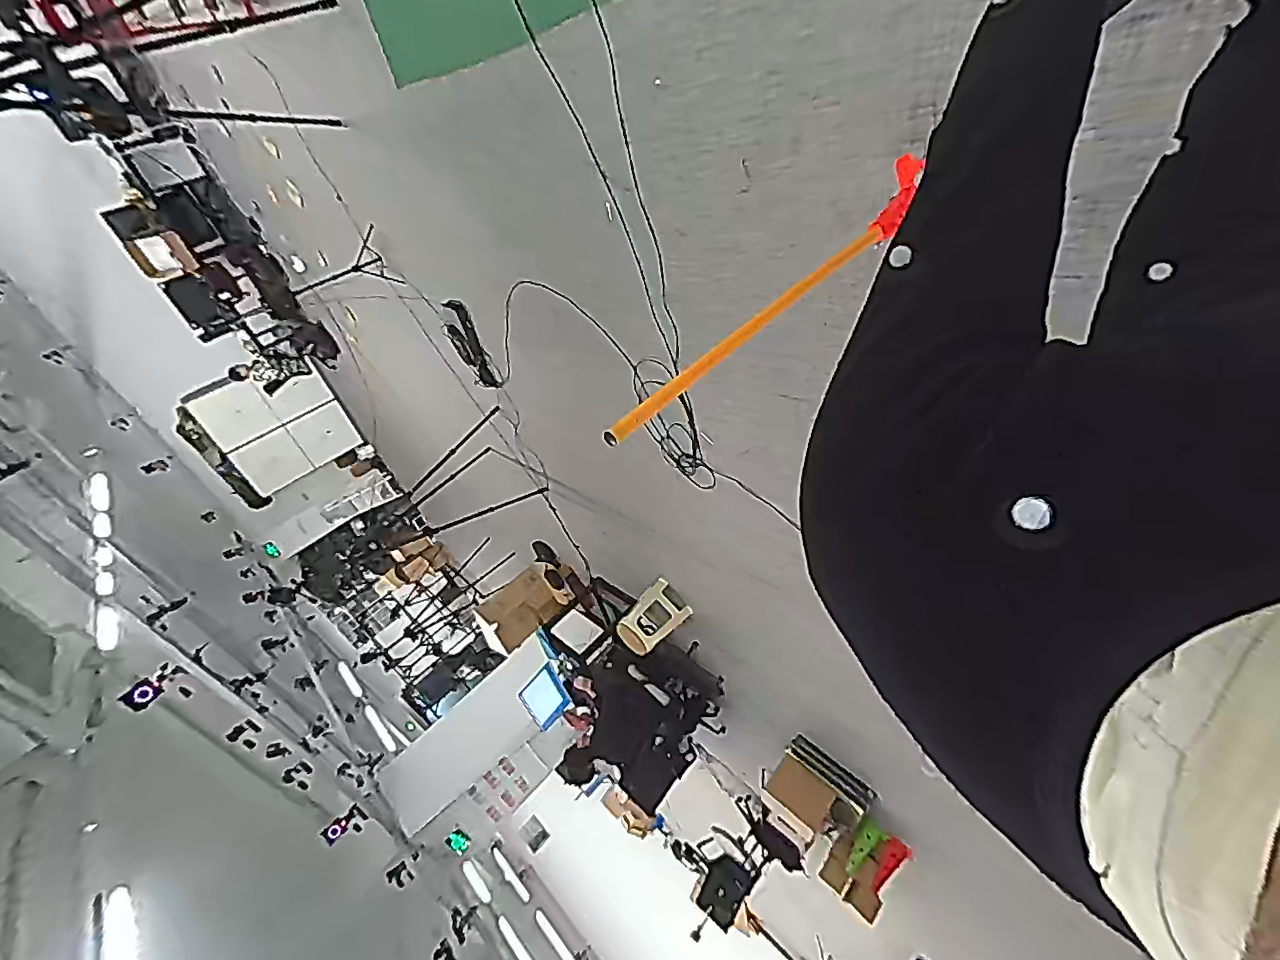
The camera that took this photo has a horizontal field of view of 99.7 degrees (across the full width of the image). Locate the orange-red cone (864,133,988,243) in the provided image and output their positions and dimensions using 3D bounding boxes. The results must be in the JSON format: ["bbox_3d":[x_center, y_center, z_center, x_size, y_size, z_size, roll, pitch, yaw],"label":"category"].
[{"bbox_3d":[0.635,-0.639,1.276,0.199,0.360,0.198,9,131,54],"label":"orange-red cone"}]
